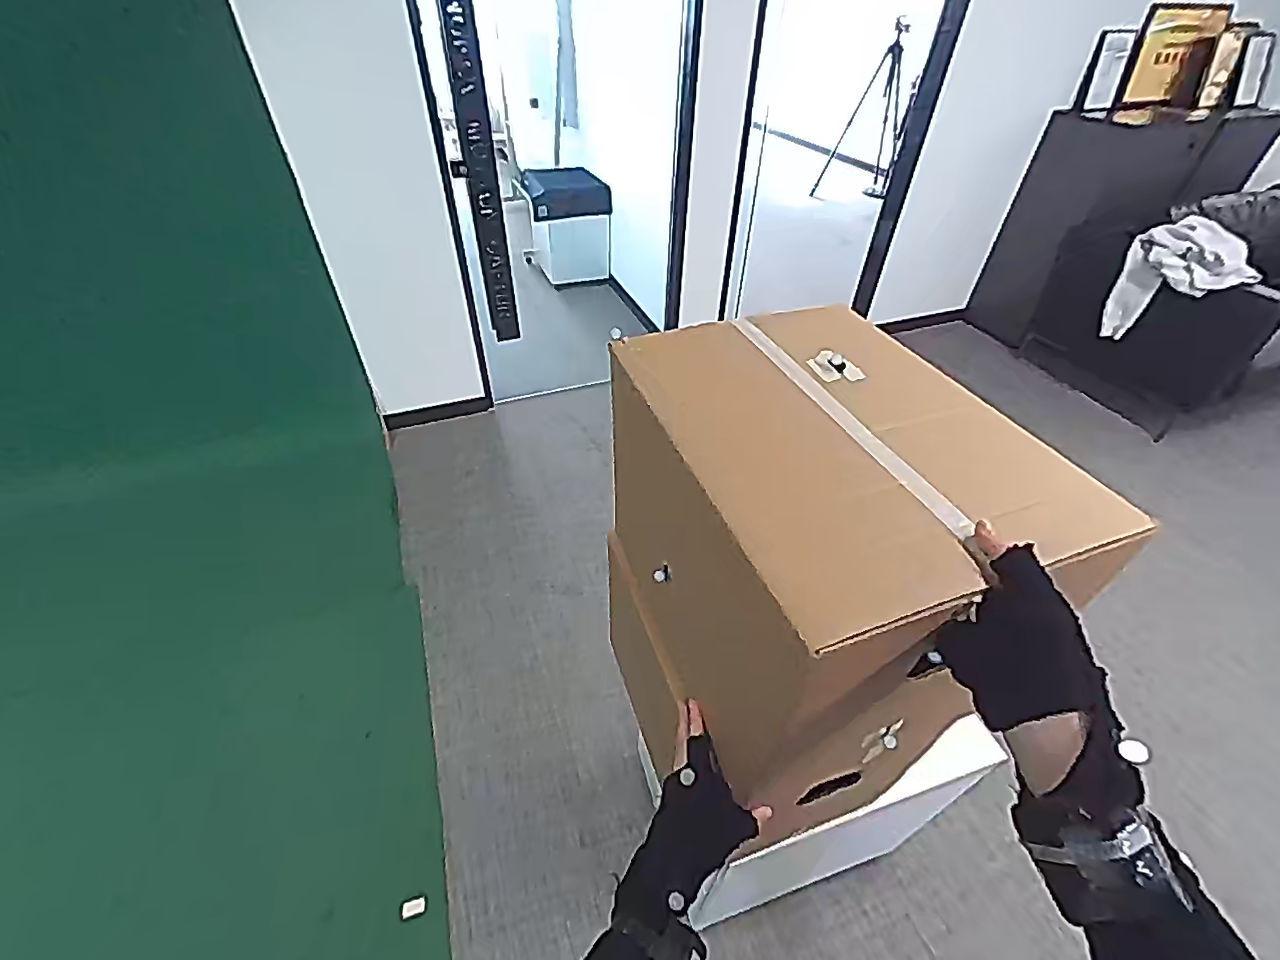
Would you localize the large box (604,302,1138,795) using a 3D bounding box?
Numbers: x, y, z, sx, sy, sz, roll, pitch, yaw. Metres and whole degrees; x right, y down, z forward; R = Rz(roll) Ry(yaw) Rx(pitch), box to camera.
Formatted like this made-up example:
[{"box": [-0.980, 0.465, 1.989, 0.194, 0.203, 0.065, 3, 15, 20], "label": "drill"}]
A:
[{"box": [0.173, 0.047, 0.607, 0.320, 0.320, 0.408, -13, 44, -15], "label": "large box"}]
